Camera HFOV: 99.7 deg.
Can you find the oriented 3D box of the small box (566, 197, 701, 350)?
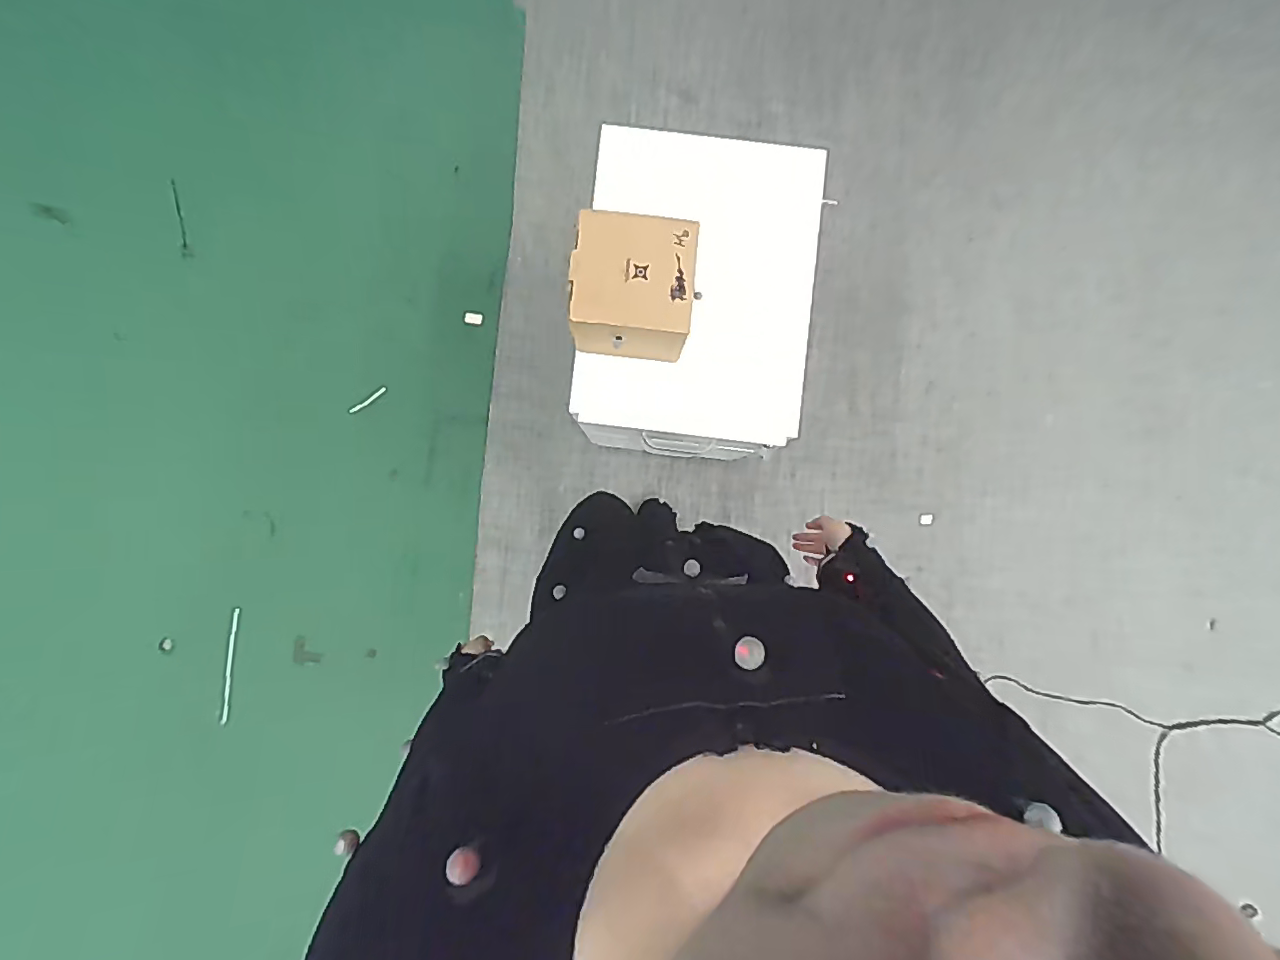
[{"bbox_3d":[-0.009,-0.307,0.836,0.179,0.176,0.168,6,90,-1],"label":"small box"}]
